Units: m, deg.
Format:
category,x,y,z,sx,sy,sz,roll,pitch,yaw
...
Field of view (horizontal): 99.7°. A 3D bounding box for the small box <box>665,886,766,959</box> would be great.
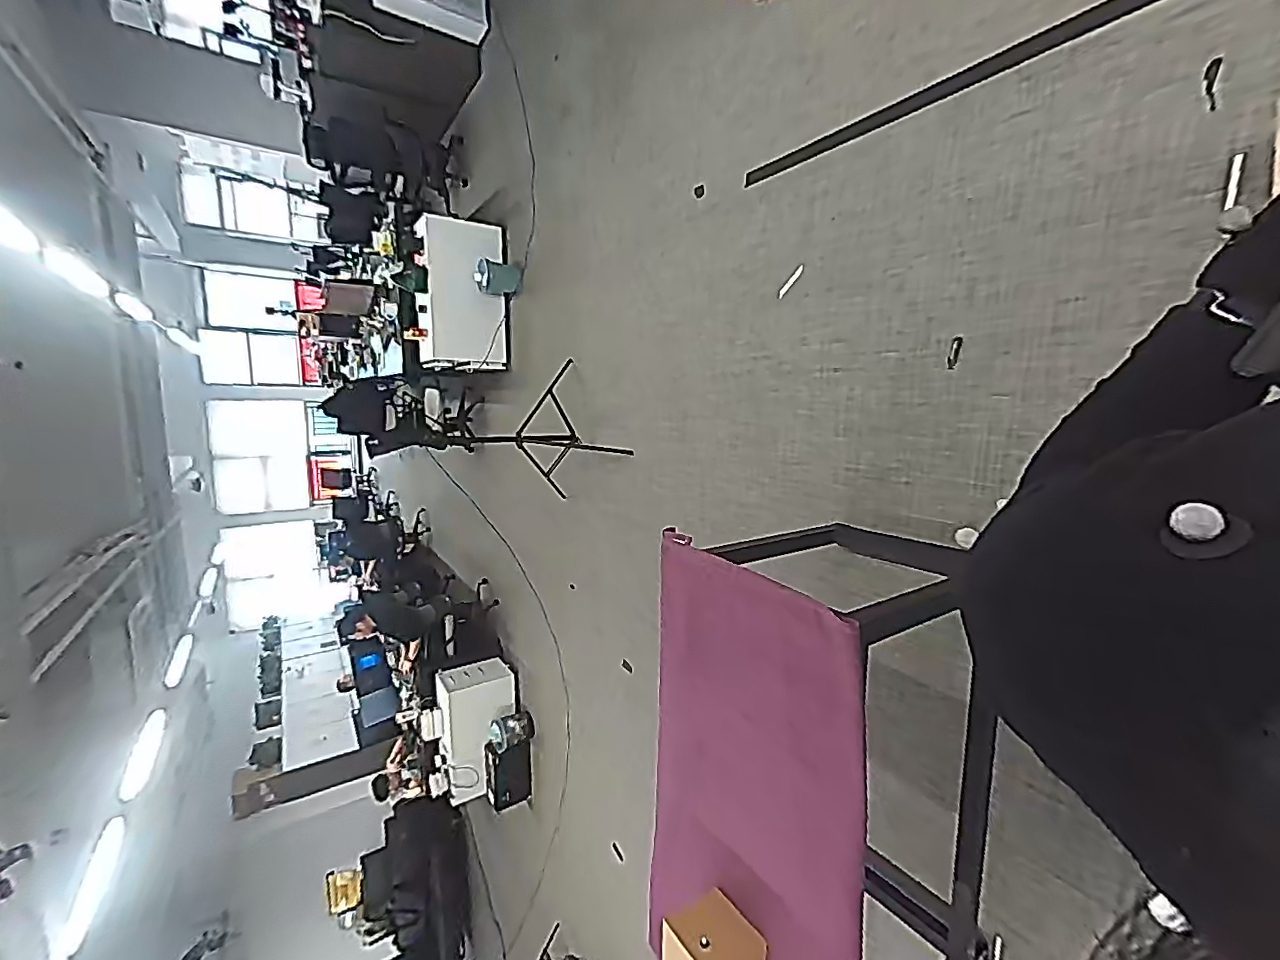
category,x,y,z,sx,sy,sz,roll,pitch,yaw
small box,0.174,1.106,1.259,0.179,0.176,0.168,13,105,56
